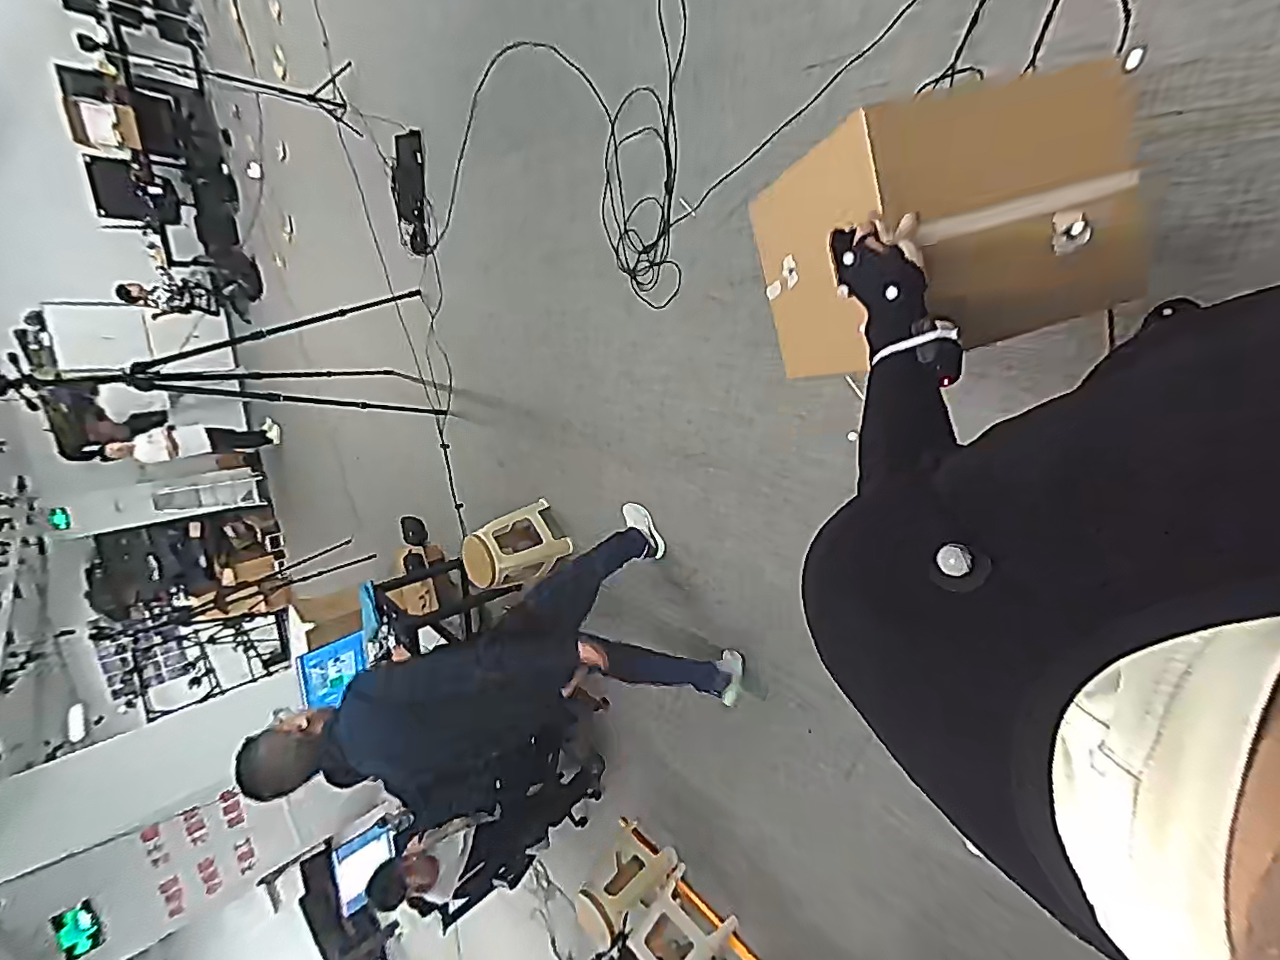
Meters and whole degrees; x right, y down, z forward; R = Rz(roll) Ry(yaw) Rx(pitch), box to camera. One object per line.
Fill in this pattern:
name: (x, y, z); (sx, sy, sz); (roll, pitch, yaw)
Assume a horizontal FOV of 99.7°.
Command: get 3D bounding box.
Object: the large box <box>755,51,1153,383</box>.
large box: (0.452, -0.364, 0.835); (0.320, 0.408, 0.320); (-156, 47, -75)
